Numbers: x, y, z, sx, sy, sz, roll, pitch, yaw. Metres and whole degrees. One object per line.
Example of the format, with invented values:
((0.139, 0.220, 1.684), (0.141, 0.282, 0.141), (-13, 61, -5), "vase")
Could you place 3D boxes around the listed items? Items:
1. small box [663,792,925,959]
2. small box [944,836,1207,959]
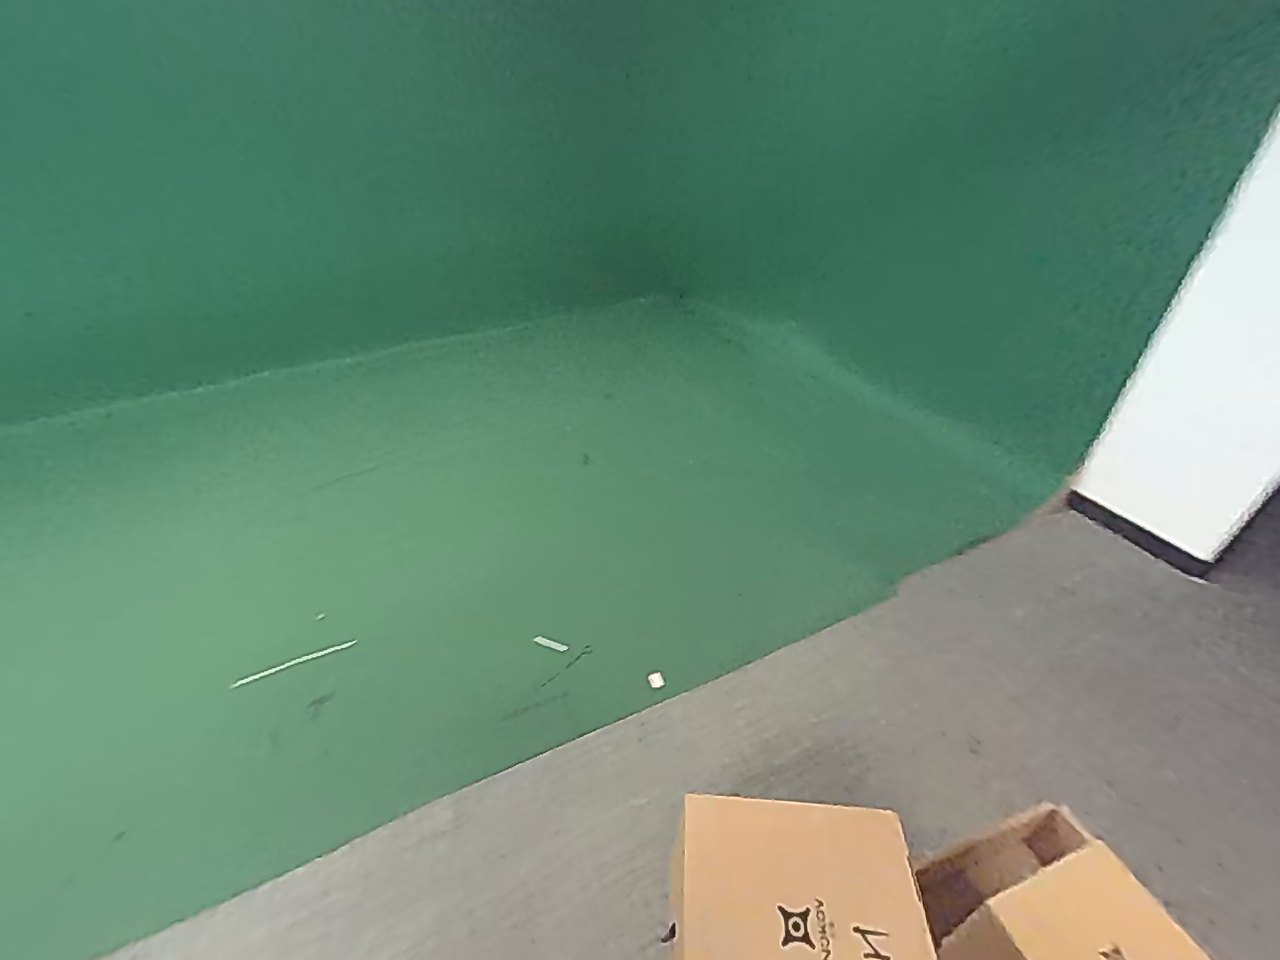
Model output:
((0.108, 0.376, 0.435), (0.179, 0.176, 0.168), (4, 41, 1), "small box")
((0.472, 0.535, 0.584), (0.168, 0.176, 0.179), (-15, 41, -14), "small box")
